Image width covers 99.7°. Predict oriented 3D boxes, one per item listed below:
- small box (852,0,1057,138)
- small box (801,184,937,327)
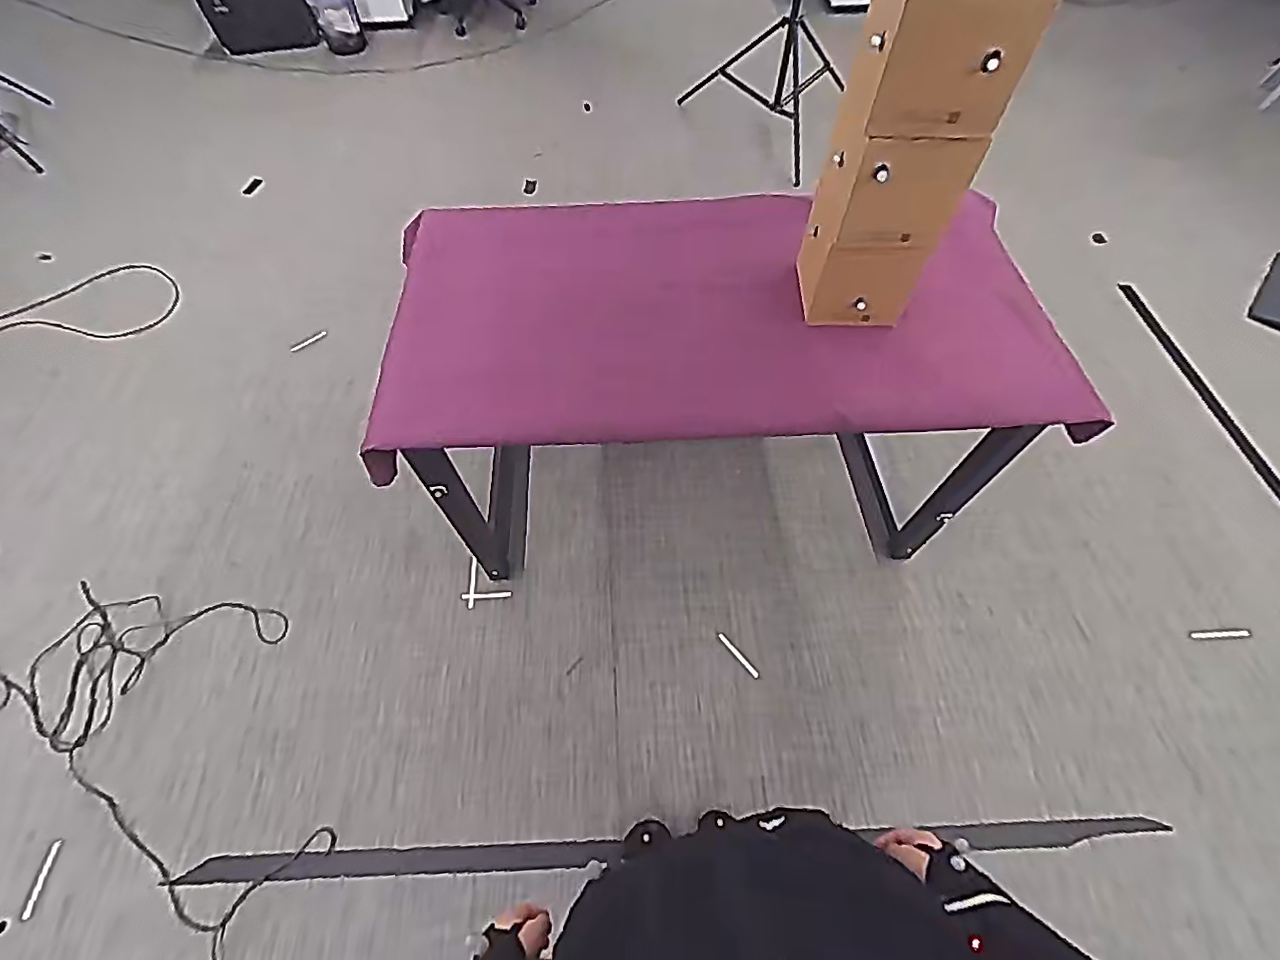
[{"bbox_3d":[0.383,-0.560,0.680,0.168,0.176,0.179,4,58,2],"label":"small box"},{"bbox_3d":[0.393,-0.398,0.965,0.168,0.176,0.179,2,59,3],"label":"small box"}]
